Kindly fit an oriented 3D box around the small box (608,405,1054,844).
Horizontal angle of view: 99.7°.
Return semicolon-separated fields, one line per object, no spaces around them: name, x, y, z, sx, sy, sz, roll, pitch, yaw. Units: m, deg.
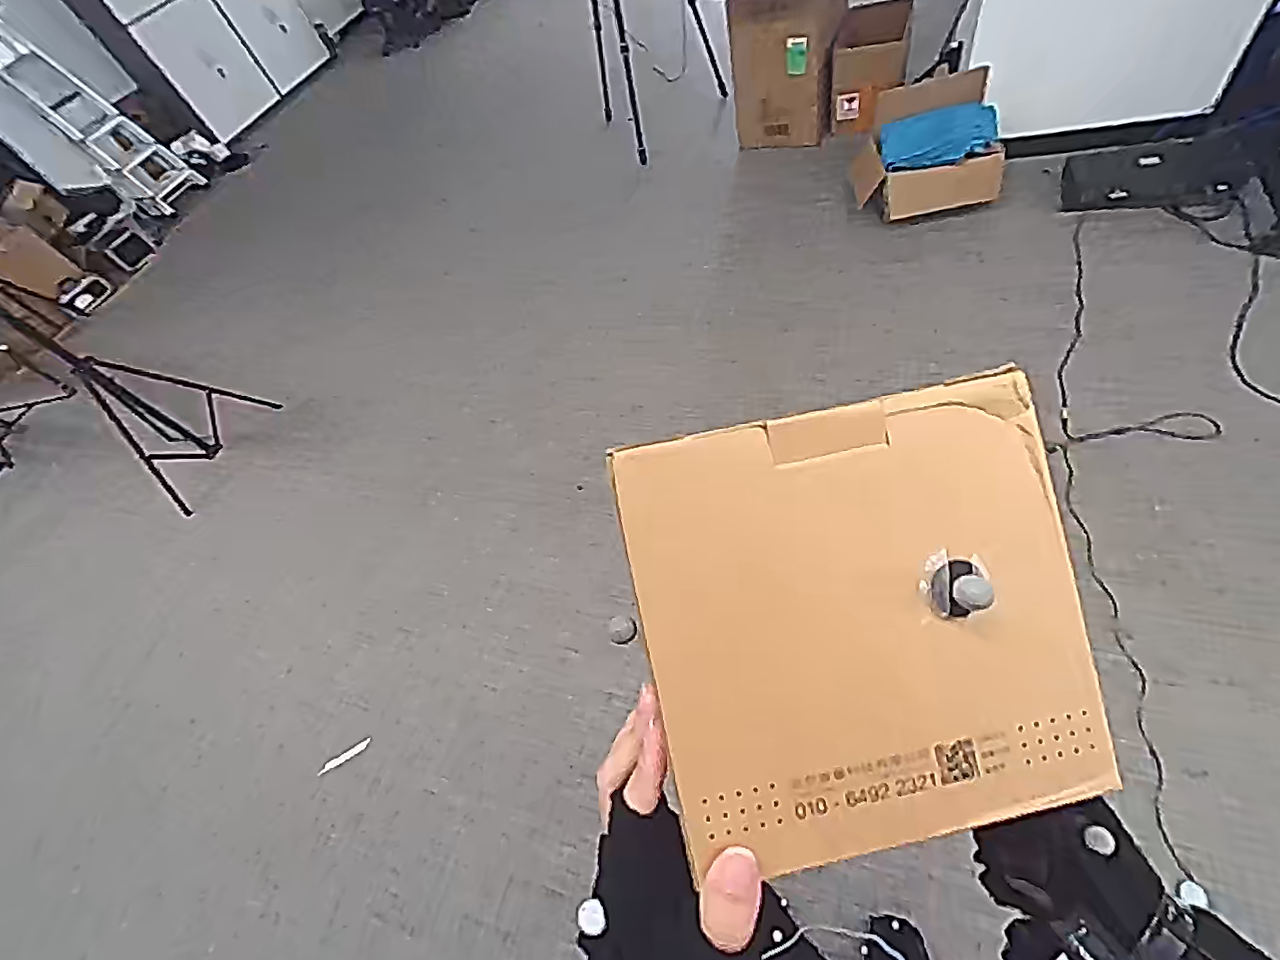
small box;0.081;0.069;0.304;0.168;0.179;0.176;-12;88;-2
